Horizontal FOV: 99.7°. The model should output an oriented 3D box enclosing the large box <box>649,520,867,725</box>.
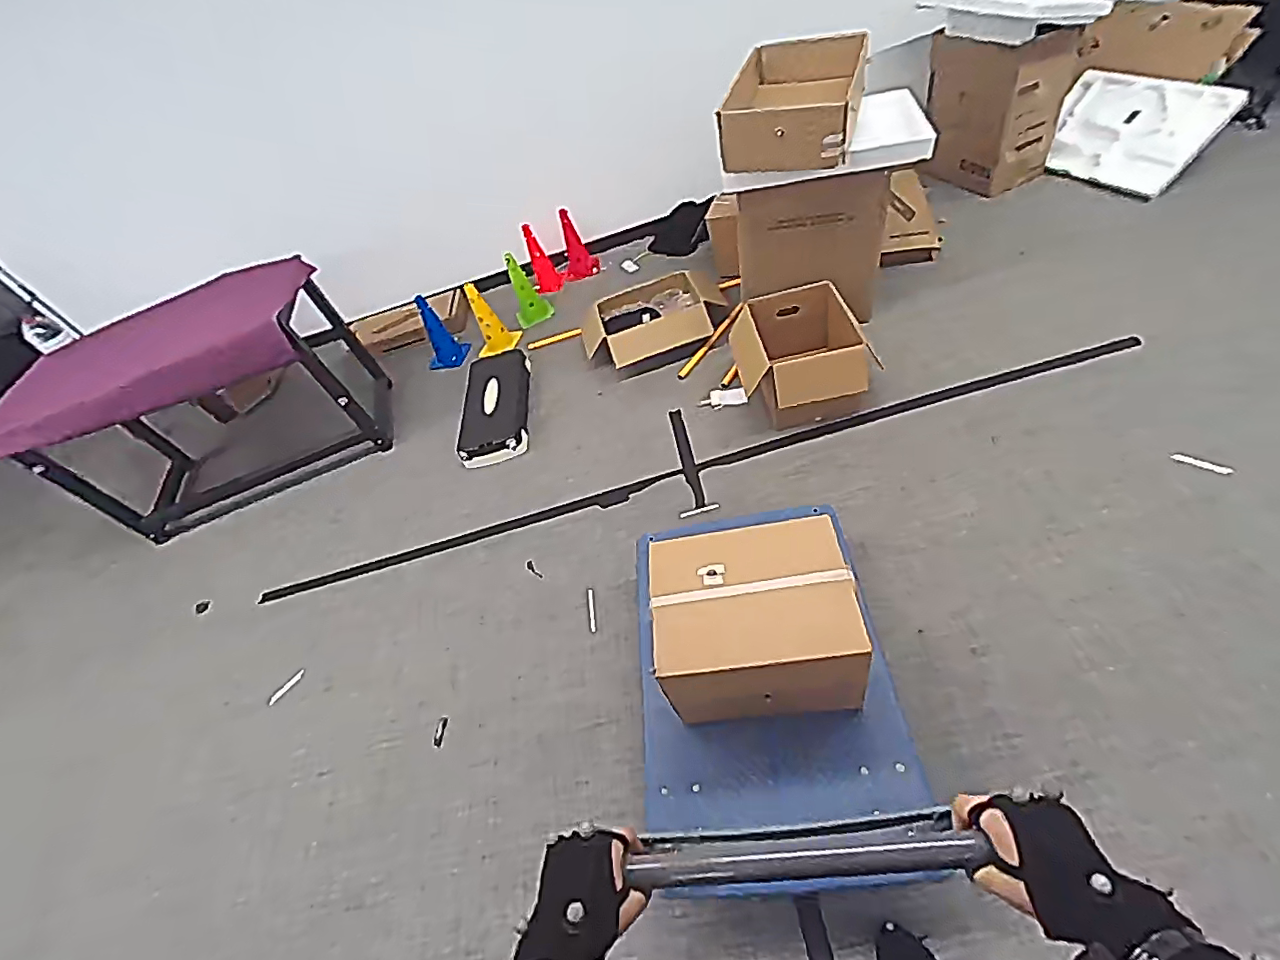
[{"bbox_3d":[0.258,0.332,1.225,0.408,0.320,0.320,-11,47,10],"label":"large box"}]
